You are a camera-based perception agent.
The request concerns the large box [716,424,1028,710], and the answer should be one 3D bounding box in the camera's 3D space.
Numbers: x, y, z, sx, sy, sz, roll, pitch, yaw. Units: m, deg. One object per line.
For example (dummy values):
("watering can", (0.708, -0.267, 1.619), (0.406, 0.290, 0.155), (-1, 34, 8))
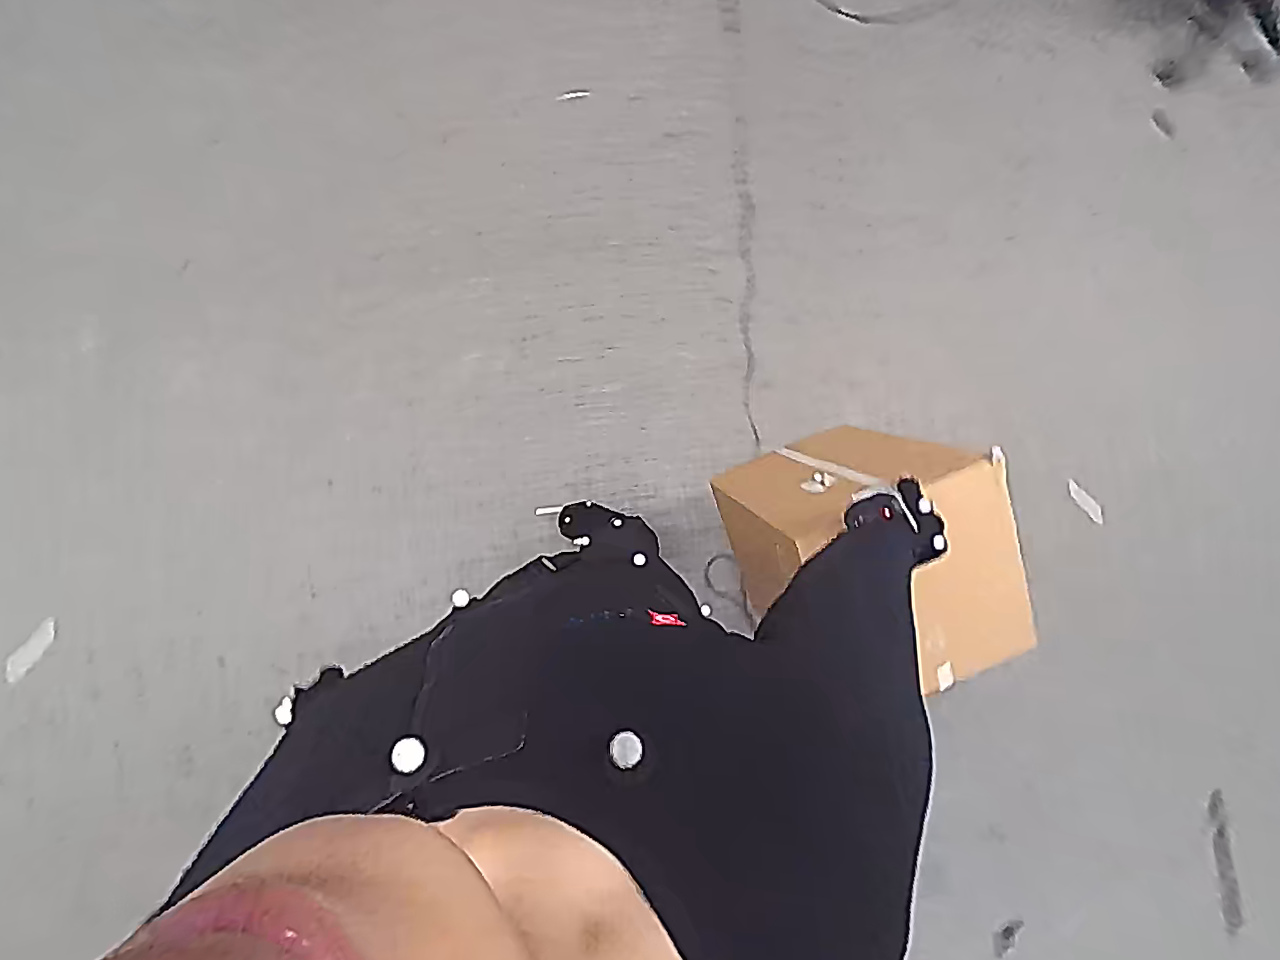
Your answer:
("large box", (0.377, 0.116, 0.963), (0.320, 0.408, 0.320), (-22, 106, -5))
